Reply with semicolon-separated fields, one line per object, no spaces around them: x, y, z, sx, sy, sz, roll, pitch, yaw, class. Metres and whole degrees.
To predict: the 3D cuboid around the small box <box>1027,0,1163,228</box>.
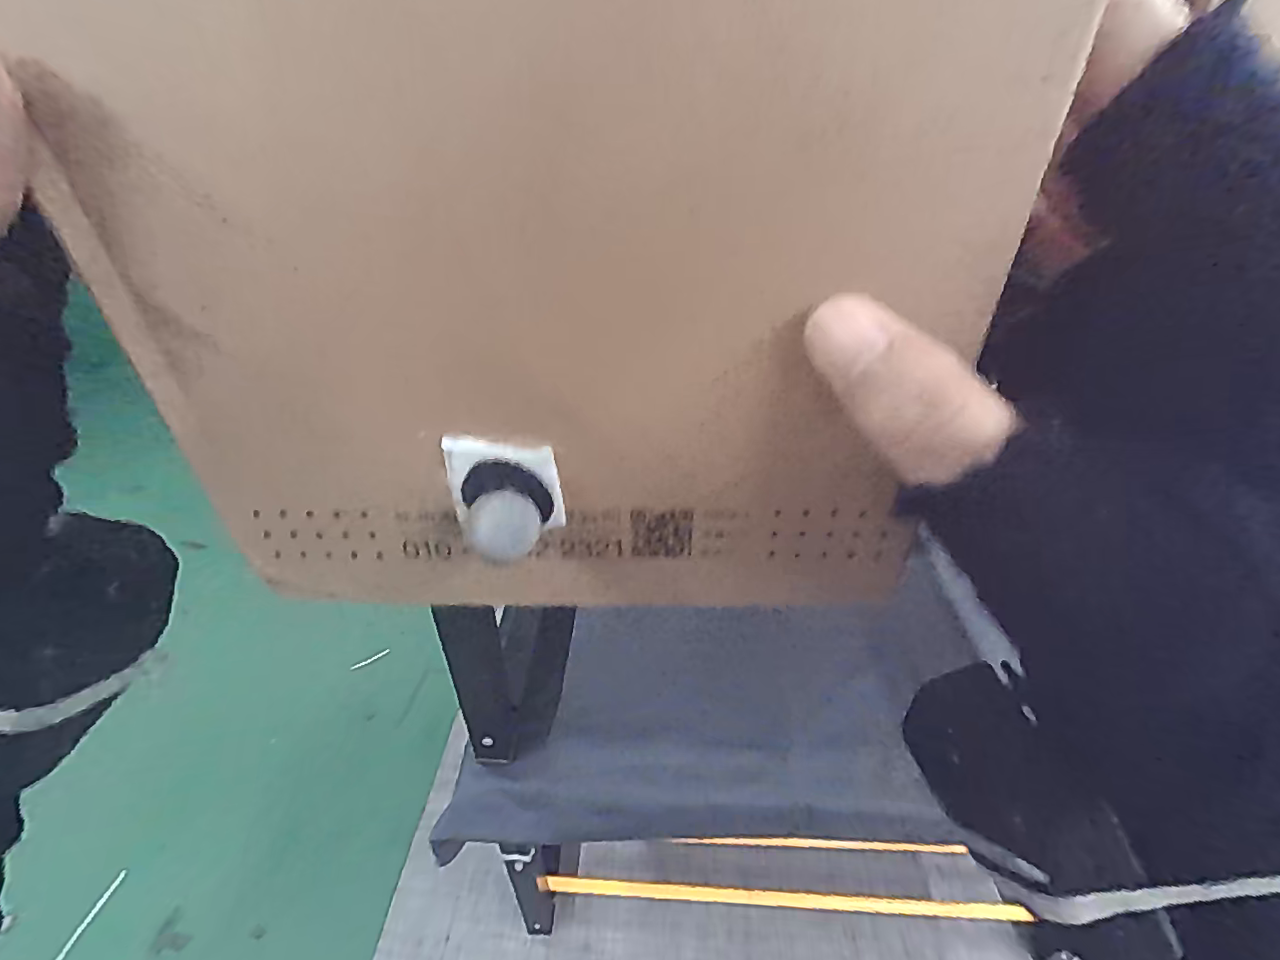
0.239;-0.309;0.427;0.168;0.176;0.179;2;36;0;small box
